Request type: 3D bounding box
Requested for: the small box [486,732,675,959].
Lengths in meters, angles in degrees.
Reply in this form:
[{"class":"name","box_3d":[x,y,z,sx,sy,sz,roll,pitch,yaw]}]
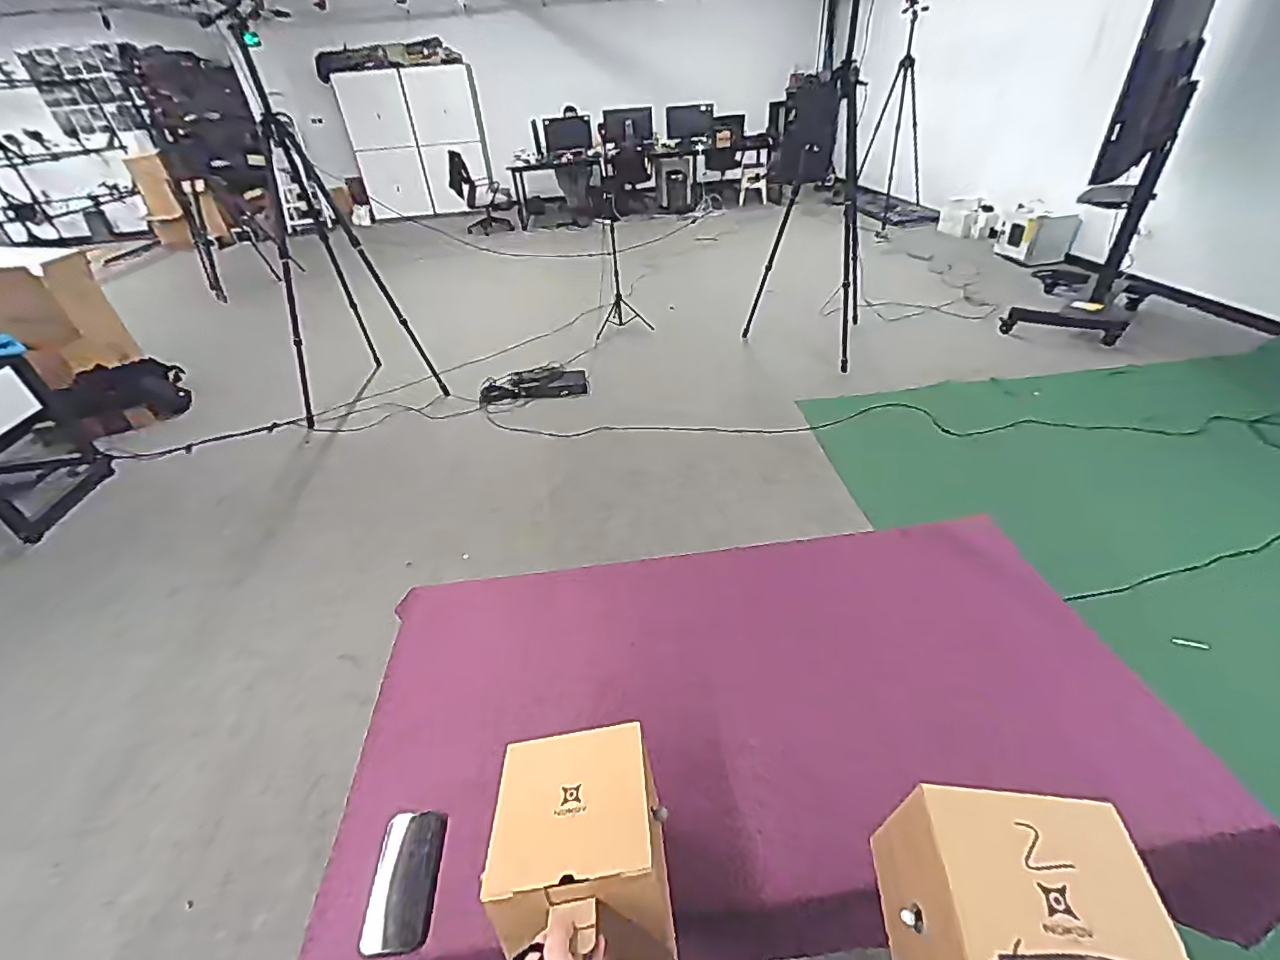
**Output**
[{"class":"small box","box_3d":[-0.058,0.423,0.607,0.168,0.176,0.179,-9,23,0]}]
